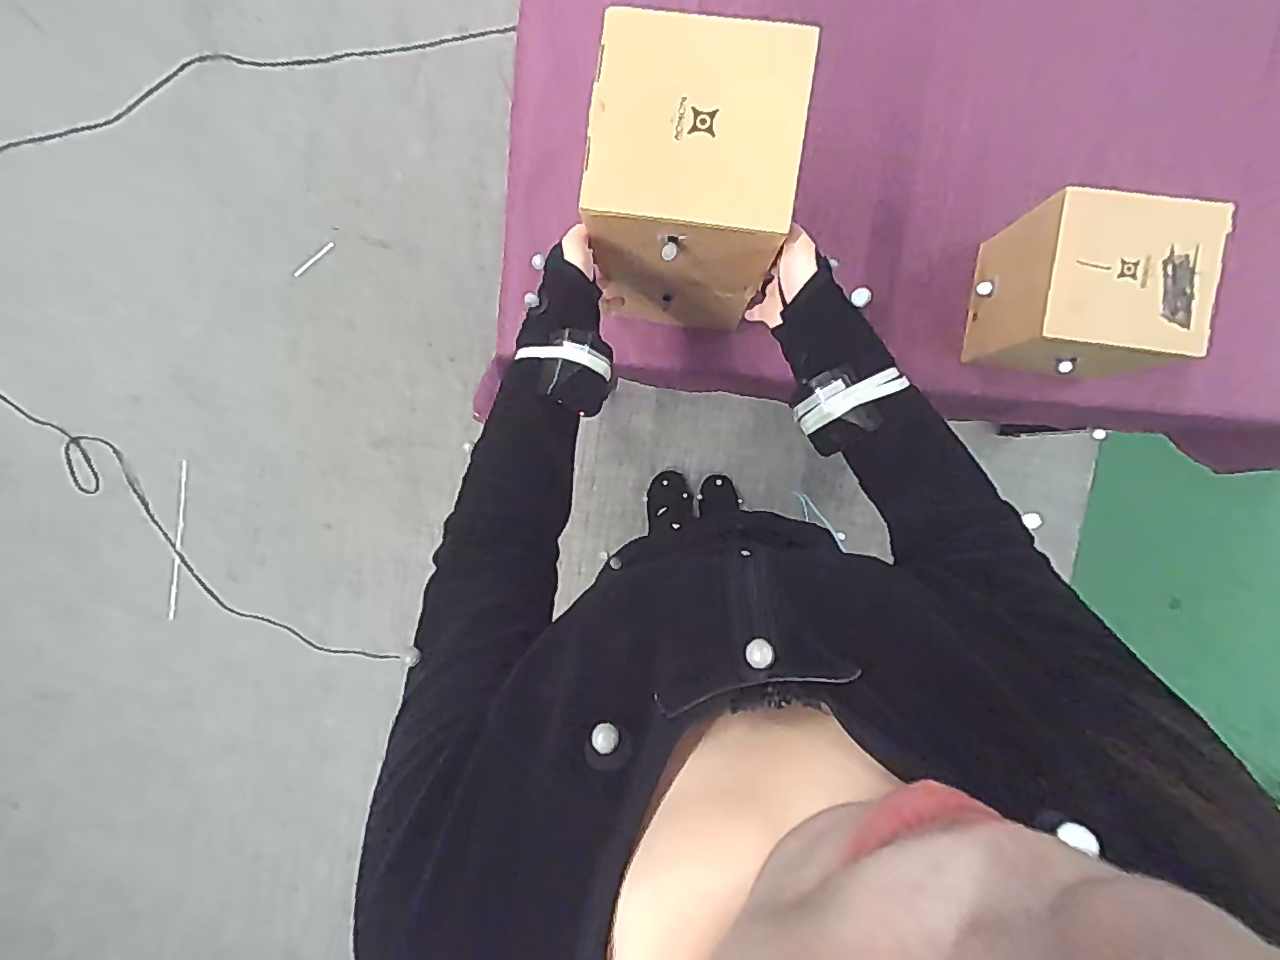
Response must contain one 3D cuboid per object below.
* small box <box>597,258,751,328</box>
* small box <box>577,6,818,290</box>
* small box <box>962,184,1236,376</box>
[{"bbox_3d":[0.054,-0.299,0.678,0.179,0.176,0.168,9,93,3],"label":"small box"},{"bbox_3d":[0.050,-0.293,0.515,0.179,0.176,0.168,8,93,4],"label":"small box"},{"bbox_3d":[0.534,-0.227,0.656,0.179,0.176,0.168,8,93,4],"label":"small box"}]
